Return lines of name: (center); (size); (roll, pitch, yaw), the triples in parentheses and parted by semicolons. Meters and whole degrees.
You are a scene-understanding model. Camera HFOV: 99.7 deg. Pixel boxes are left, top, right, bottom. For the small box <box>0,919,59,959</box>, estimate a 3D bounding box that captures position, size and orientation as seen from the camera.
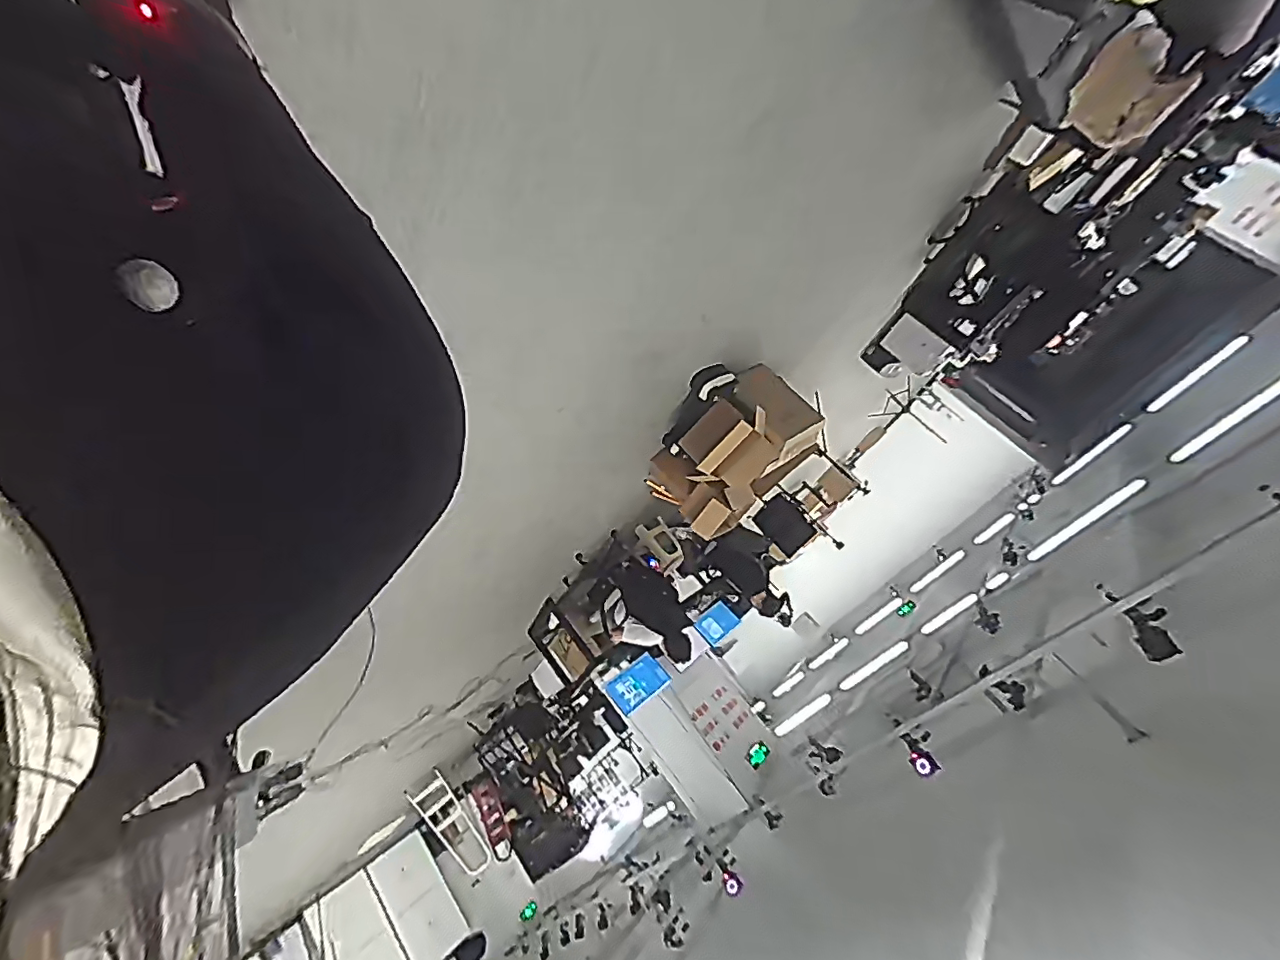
small box: (-1.560, 1.232, 1.324); (0.179, 0.176, 0.168); (-17, 148, -47)
